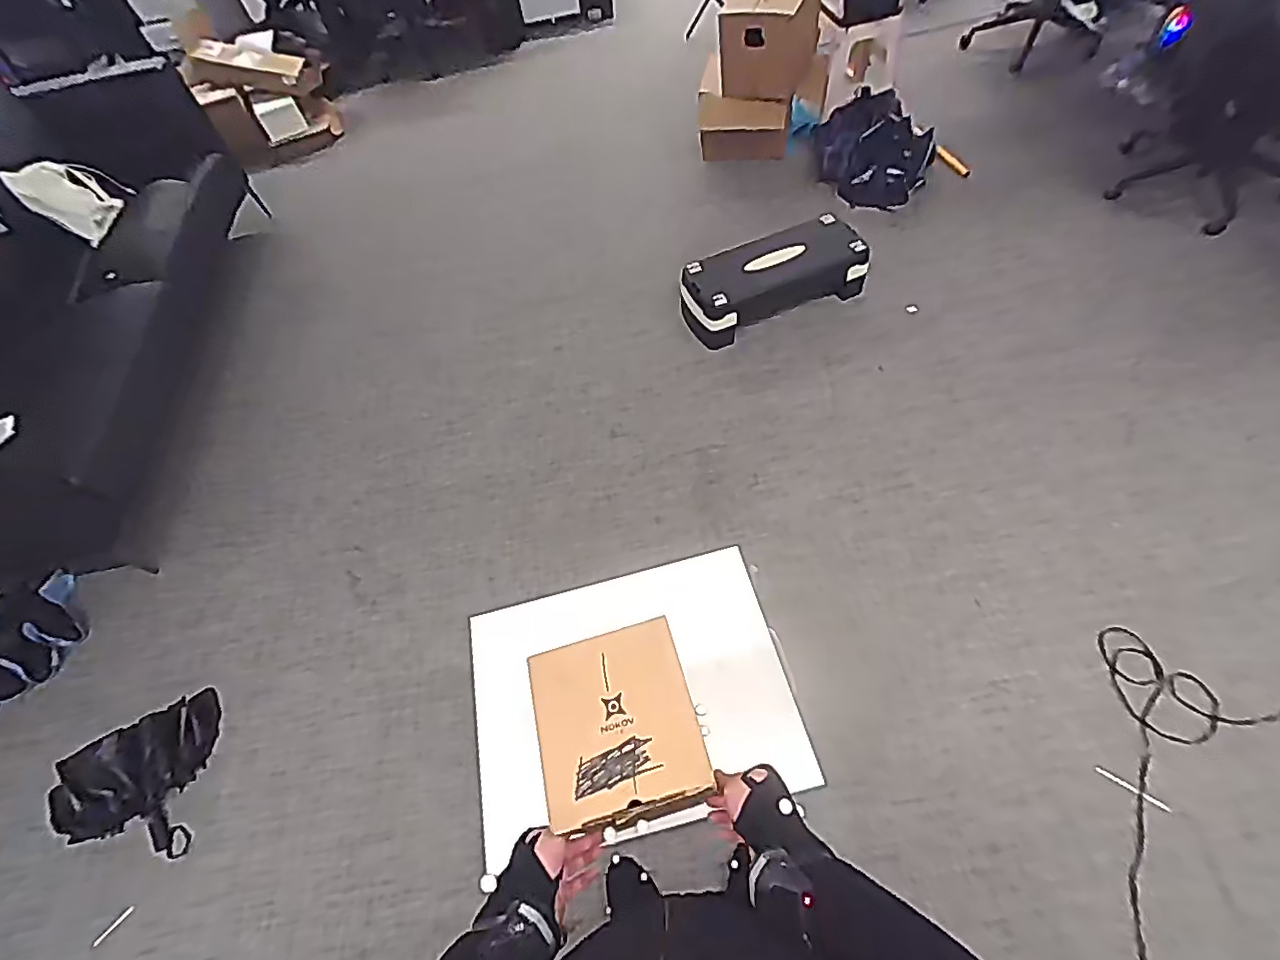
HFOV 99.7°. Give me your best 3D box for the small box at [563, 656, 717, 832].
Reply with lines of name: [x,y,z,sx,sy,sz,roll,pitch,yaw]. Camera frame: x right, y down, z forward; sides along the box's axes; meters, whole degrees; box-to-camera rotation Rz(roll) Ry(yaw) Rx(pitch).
small box: [0.003,0.377,0.765,0.168,0.176,0.179,-18,57,-3]
